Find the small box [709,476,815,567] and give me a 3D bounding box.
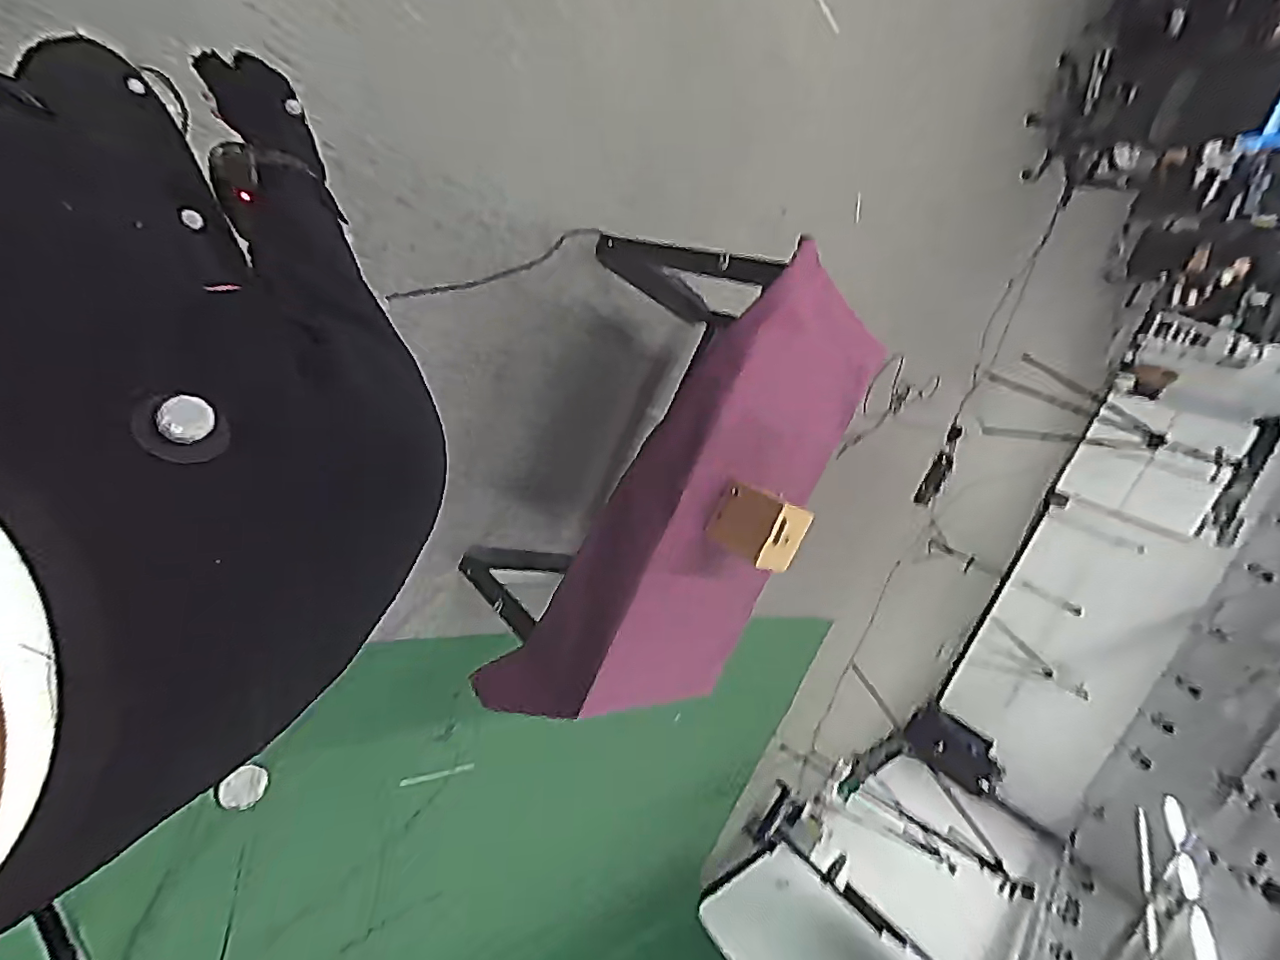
[{"bbox_3d":[0.306,0.103,1.373,0.179,0.176,0.168,17,100,-49],"label":"small box"}]
